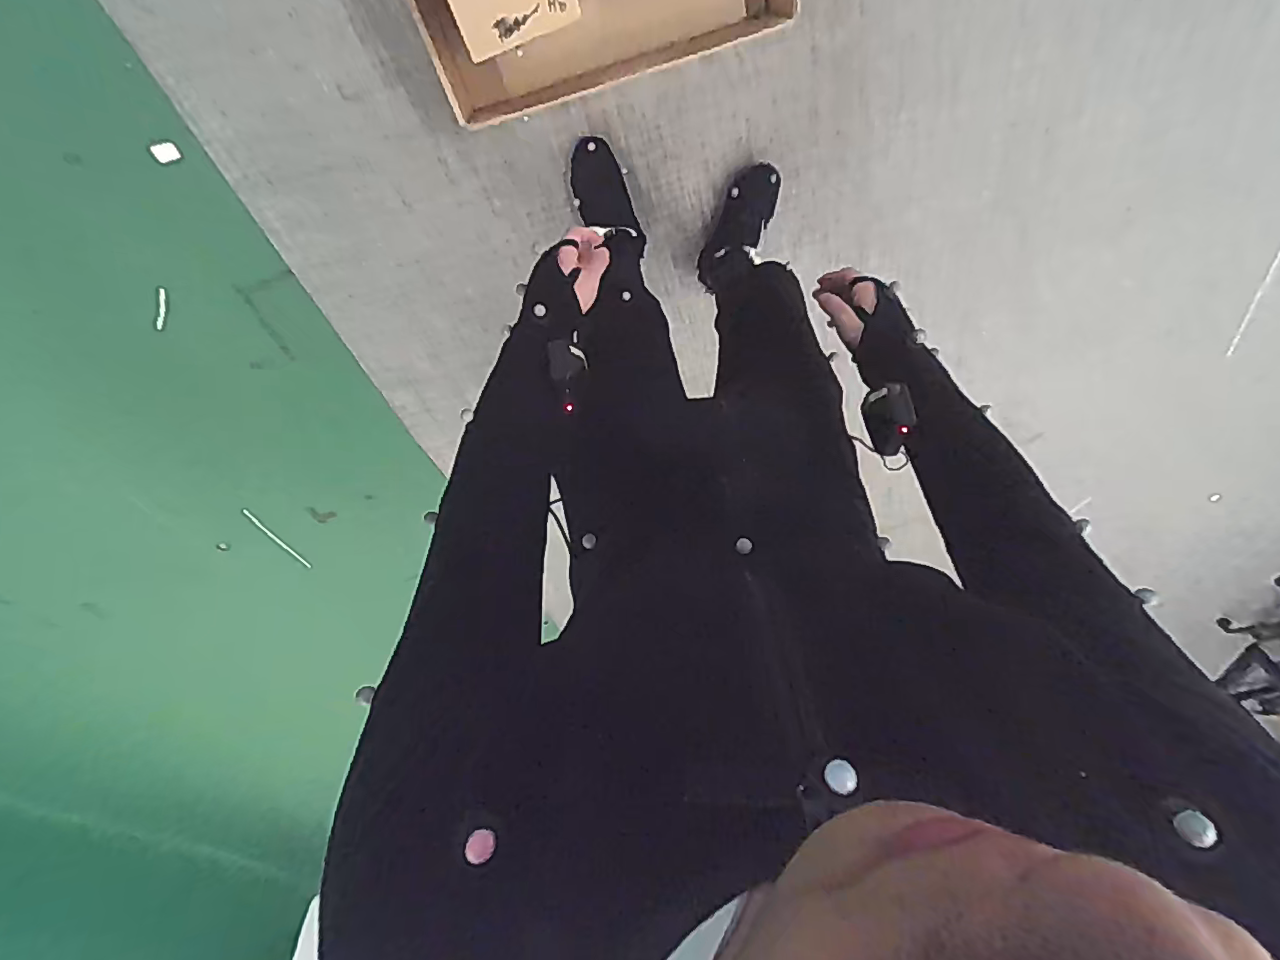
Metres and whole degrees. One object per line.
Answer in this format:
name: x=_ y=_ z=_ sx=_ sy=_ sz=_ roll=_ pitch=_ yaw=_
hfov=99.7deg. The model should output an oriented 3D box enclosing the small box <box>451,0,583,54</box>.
small box: x=-0.186 y=-0.720 z=0.740 sx=0.168 sy=0.176 sz=0.179 roll=-17 pitch=132 yaw=7
